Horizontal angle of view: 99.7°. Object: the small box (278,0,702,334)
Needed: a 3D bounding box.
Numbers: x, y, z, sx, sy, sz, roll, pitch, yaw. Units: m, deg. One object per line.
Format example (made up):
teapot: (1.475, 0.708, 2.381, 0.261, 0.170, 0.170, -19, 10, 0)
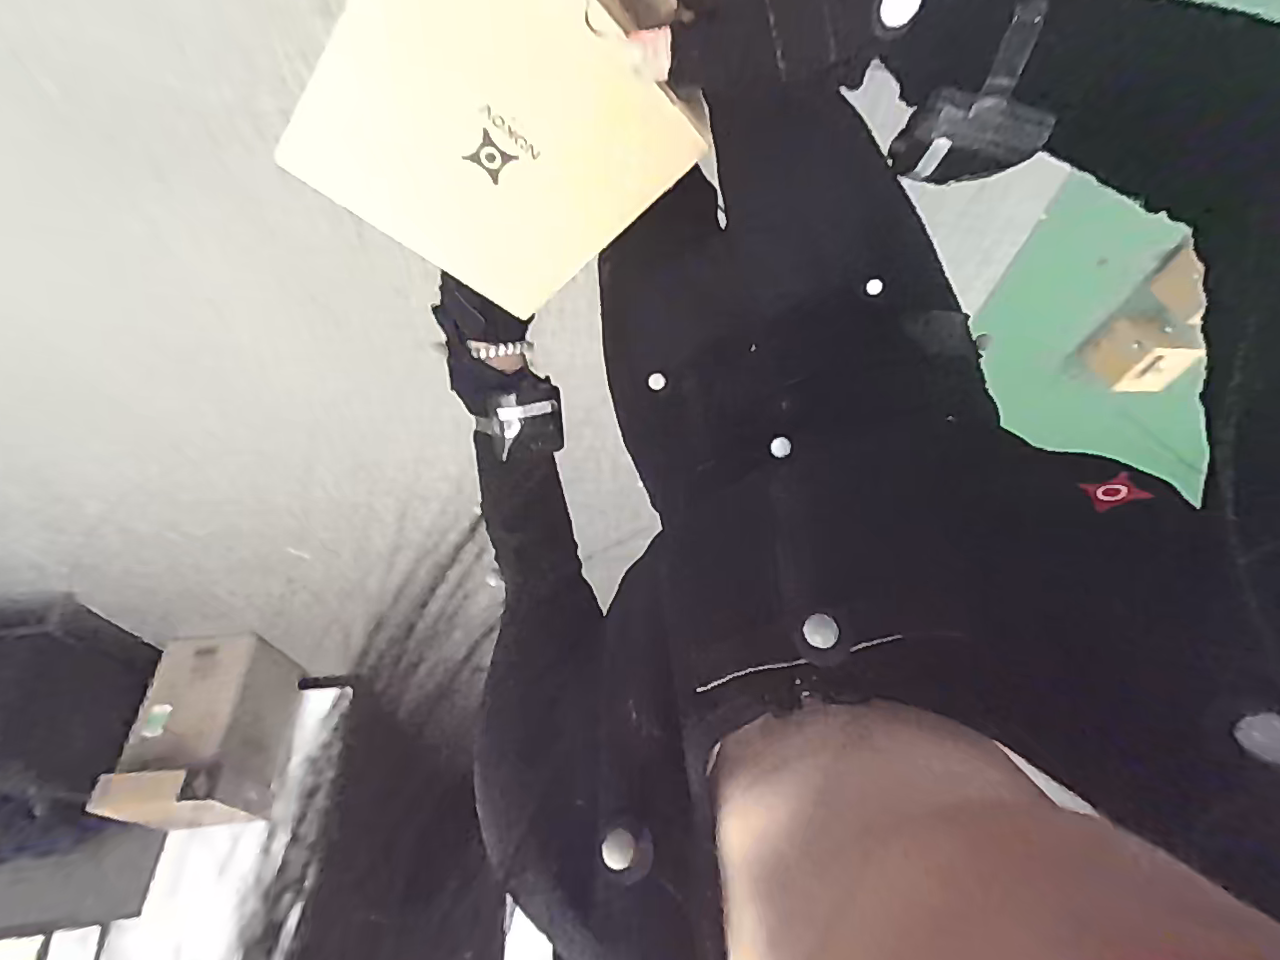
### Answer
small box: (-0.084, -0.236, 0.338, 0.179, 0.176, 0.168, -28, 141, 33)
